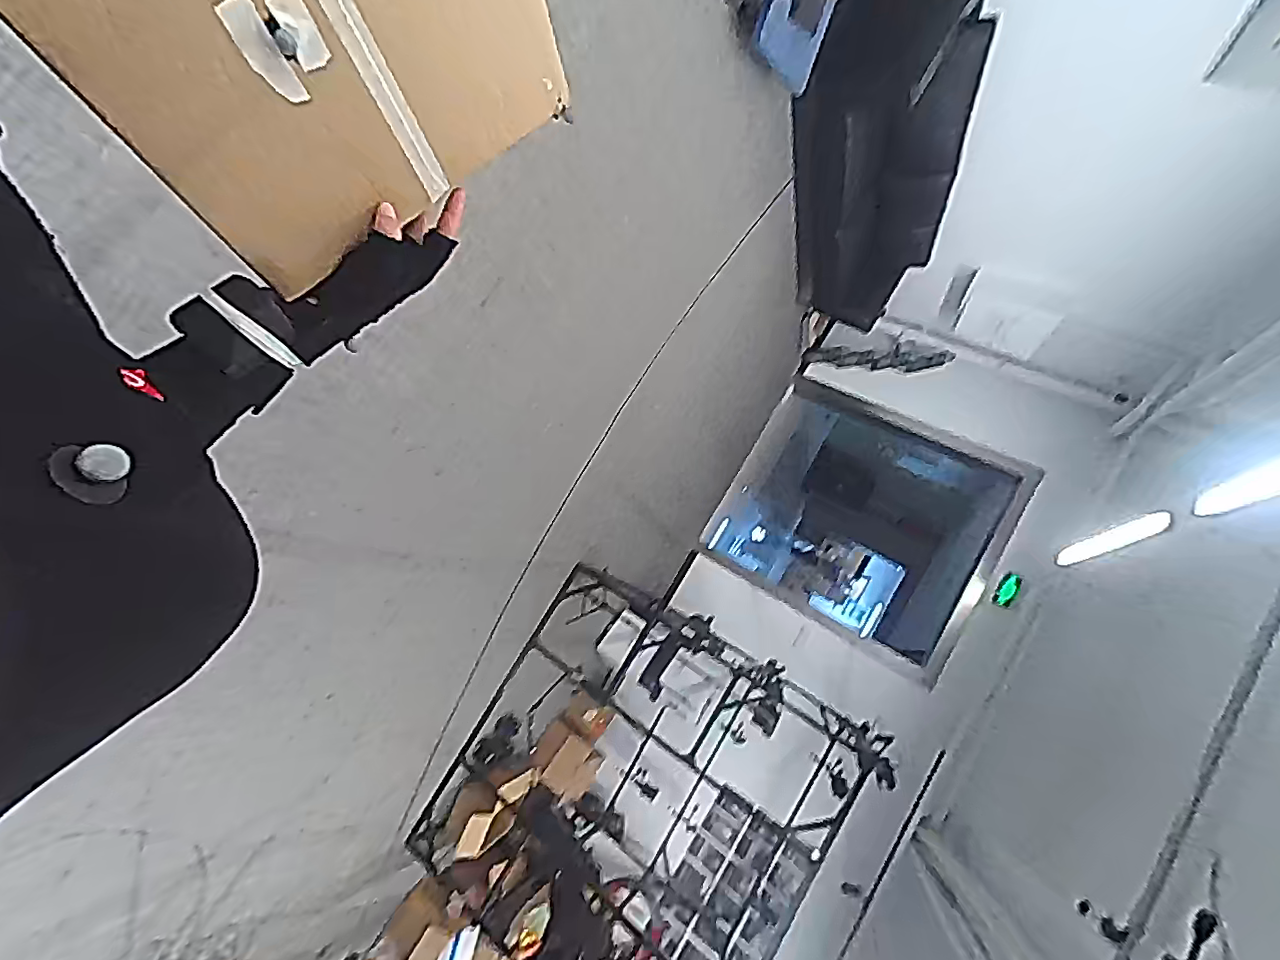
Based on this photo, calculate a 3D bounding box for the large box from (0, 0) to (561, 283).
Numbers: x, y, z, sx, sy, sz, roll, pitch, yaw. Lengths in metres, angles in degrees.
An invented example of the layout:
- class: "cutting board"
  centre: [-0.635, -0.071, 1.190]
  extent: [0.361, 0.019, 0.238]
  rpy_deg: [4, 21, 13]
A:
- class: "large box"
  centre: [-0.318, -0.437, 0.369]
  extent: [0.320, 0.320, 0.408]
  rpy_deg: [-43, 154, -12]
